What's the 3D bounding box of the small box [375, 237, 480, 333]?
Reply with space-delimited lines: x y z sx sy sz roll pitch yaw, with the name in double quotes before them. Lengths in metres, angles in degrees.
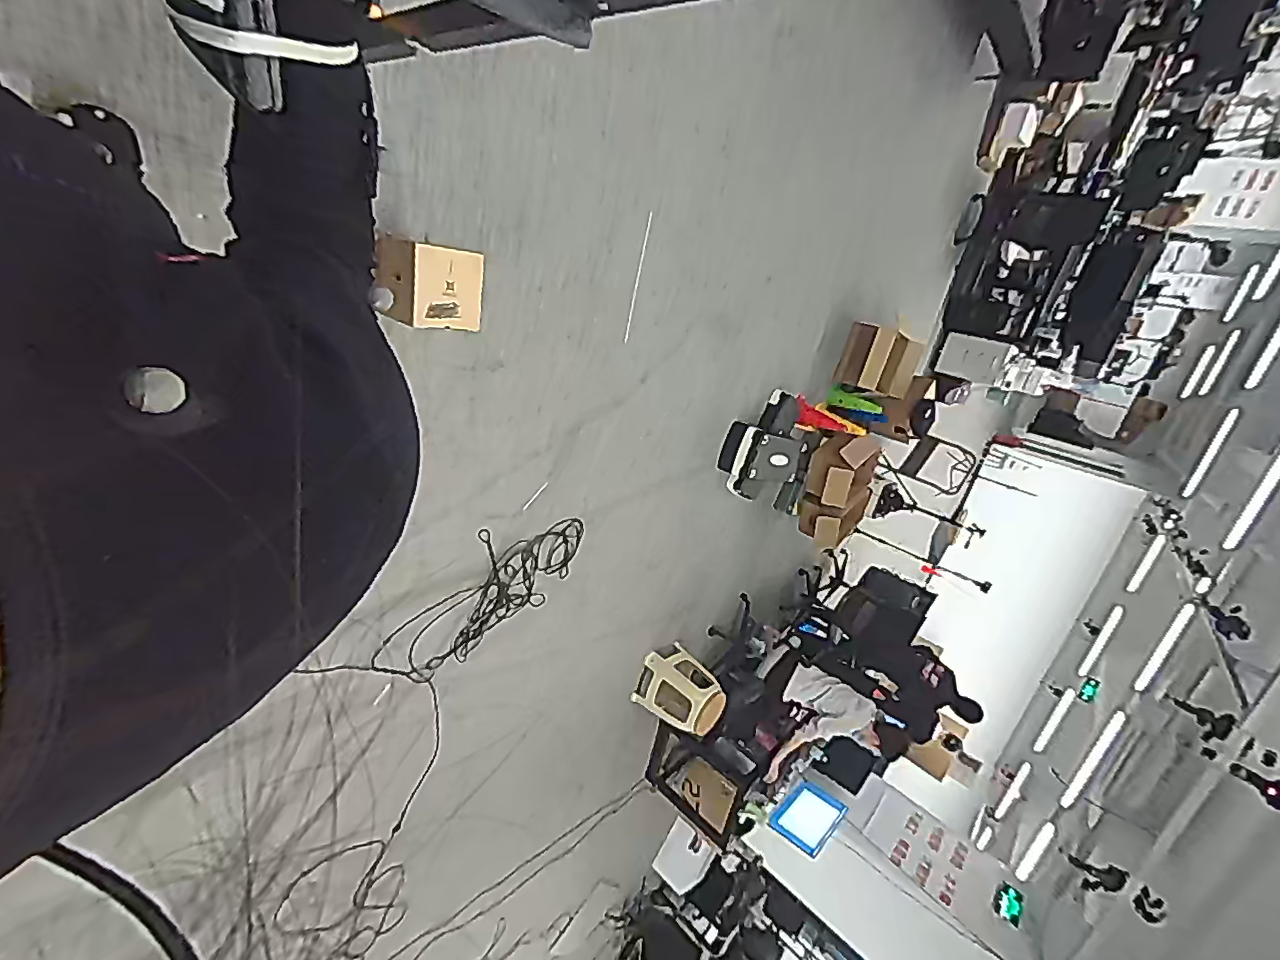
"small box" -0.491 -0.447 1.244 0.168 0.176 0.179 -13 120 -48
